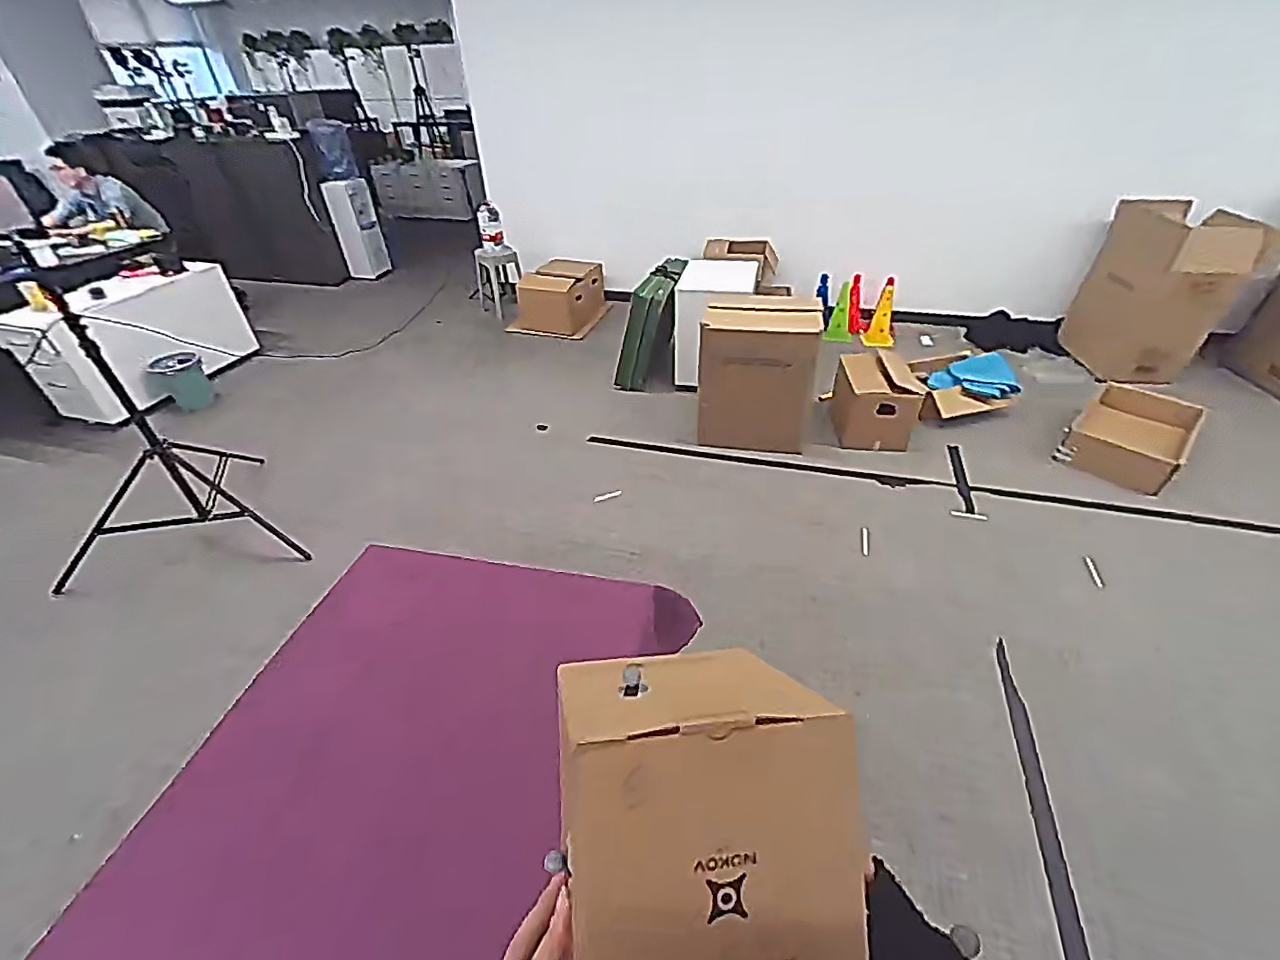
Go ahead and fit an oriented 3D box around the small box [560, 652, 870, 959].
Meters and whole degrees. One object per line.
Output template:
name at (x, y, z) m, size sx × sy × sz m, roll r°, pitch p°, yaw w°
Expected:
small box at (0.032, 0.223, 0.372) m, size 0.168 × 0.179 × 0.176 m, roll -1°, pitch -5°, yaw -10°
